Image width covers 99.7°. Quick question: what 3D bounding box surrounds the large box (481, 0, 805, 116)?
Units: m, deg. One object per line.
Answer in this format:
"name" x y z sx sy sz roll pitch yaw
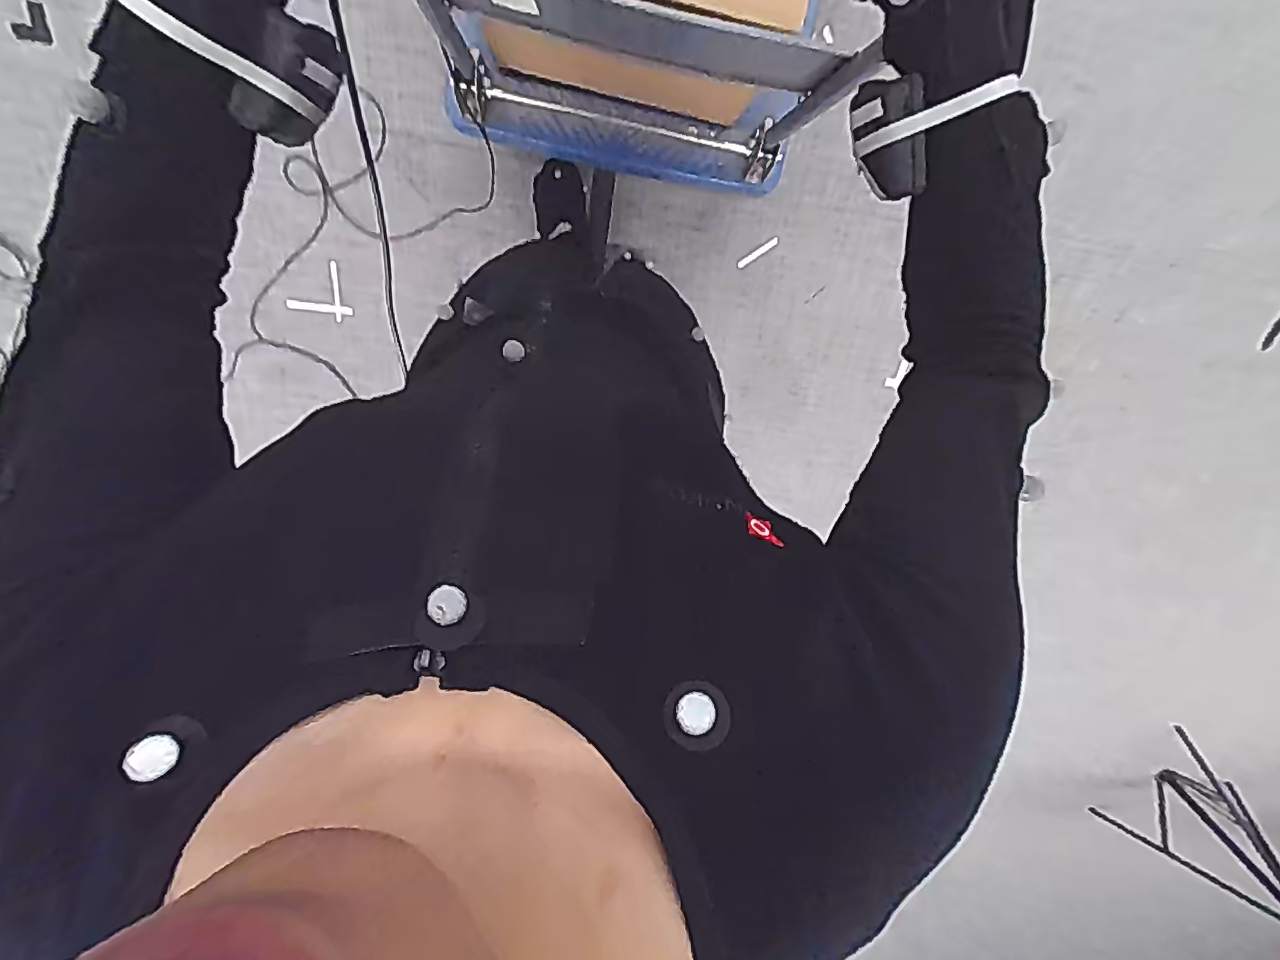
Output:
"large box" 0.003 -0.752 0.722 0.408 0.320 0.320 8 106 -9
